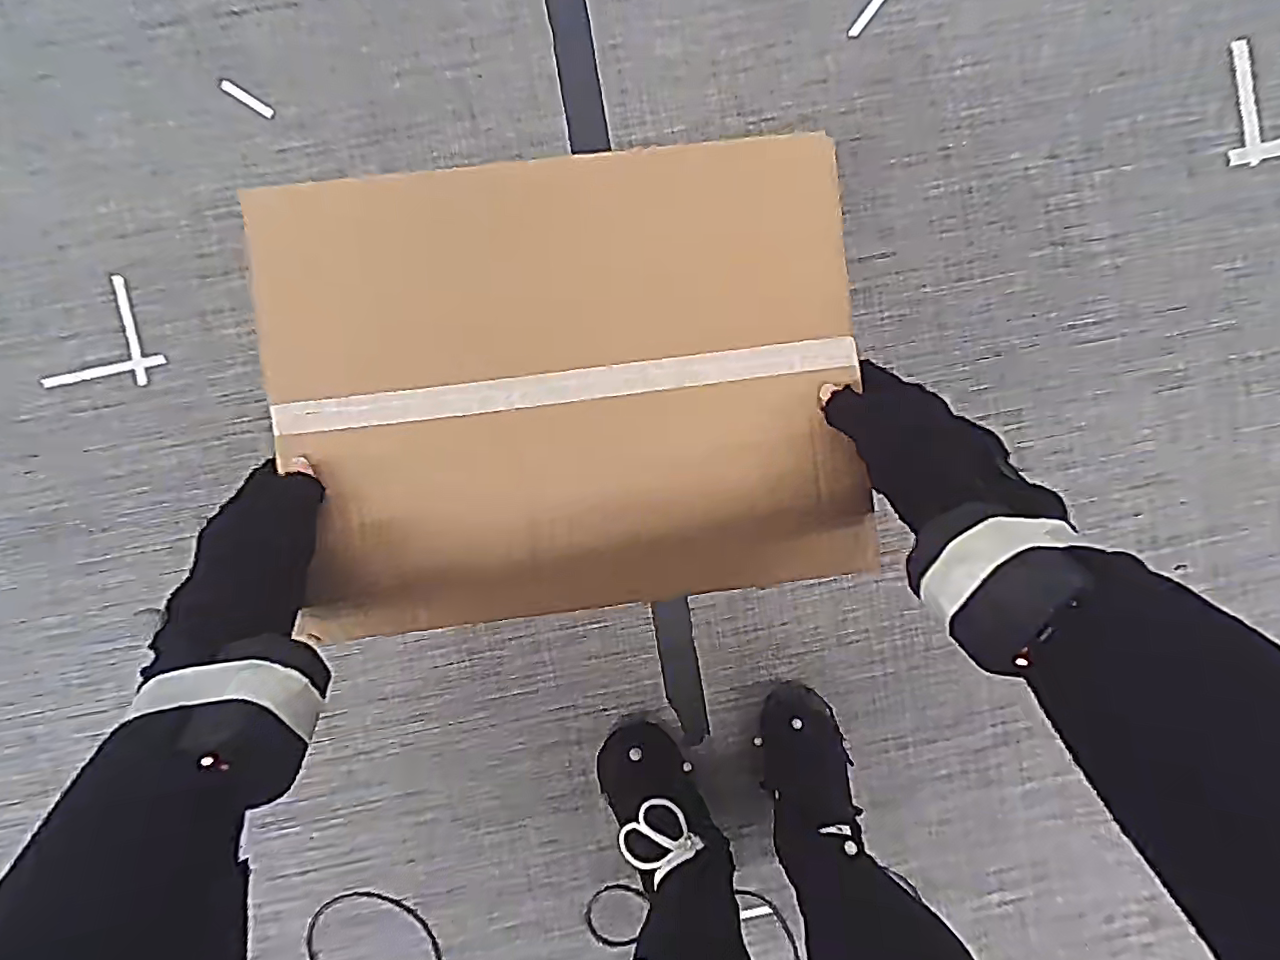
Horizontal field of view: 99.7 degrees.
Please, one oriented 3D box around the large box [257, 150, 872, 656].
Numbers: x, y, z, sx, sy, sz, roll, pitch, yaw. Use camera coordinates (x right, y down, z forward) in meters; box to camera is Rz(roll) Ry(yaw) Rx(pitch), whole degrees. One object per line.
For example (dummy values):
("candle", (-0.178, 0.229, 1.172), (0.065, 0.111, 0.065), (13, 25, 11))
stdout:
("large box", (-0.050, -0.059, 0.528), (0.408, 0.320, 0.320), (-7, 91, -2))
